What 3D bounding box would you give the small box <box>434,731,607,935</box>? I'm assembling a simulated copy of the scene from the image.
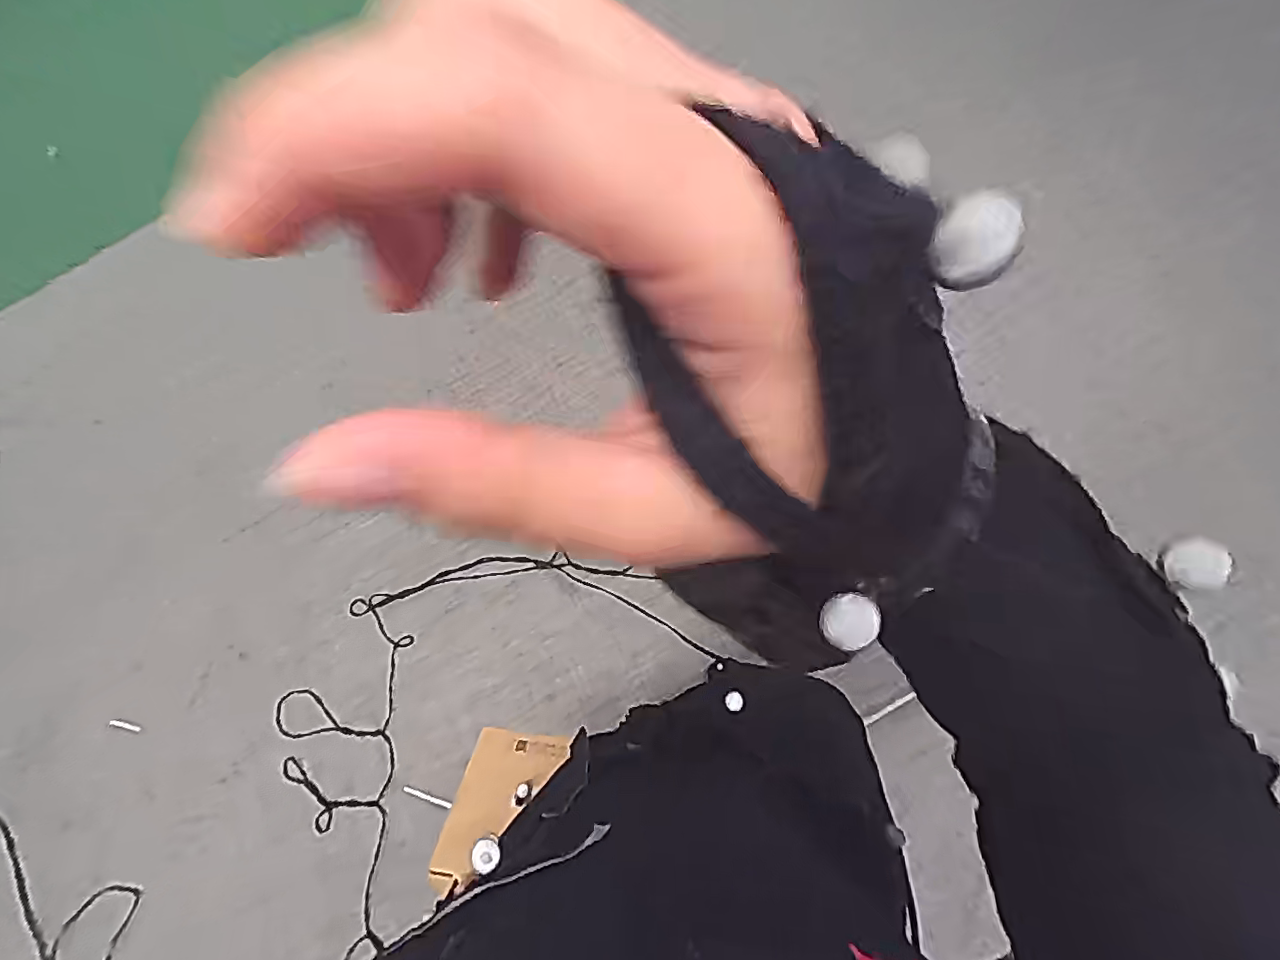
[{"bbox_3d":[-0.138,0.451,0.701,0.168,0.179,0.176,4,38,6],"label":"small box"}]
